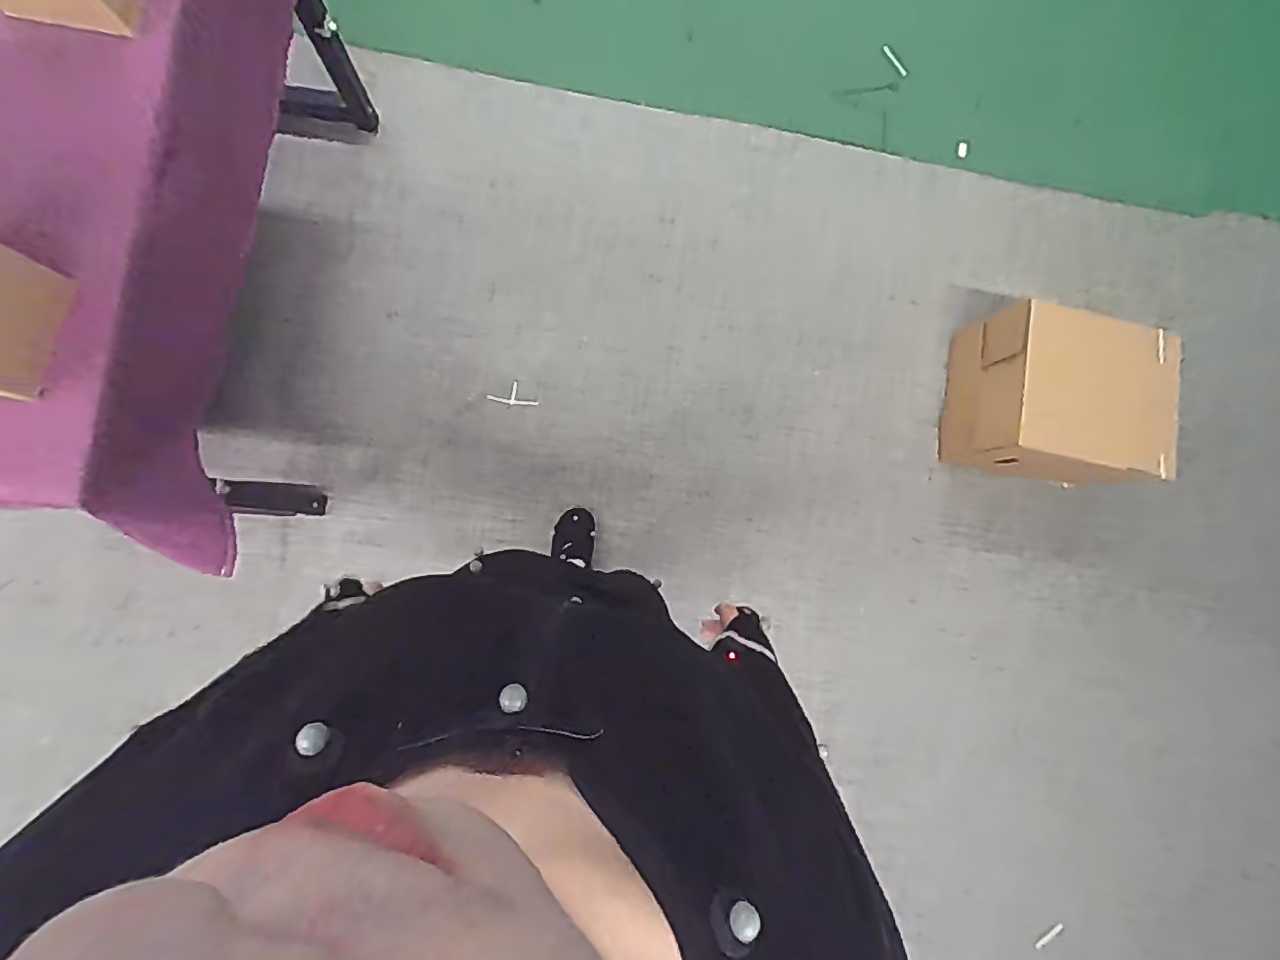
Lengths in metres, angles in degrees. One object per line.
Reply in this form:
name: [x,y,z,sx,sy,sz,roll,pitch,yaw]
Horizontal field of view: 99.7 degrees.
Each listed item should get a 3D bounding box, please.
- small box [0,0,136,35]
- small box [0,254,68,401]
small box: [-0.815,-0.747,0.719,0.179,0.176,0.168,6,83,-5]
small box: [-0.866,-0.206,0.652,0.168,0.176,0.179,8,82,-5]
